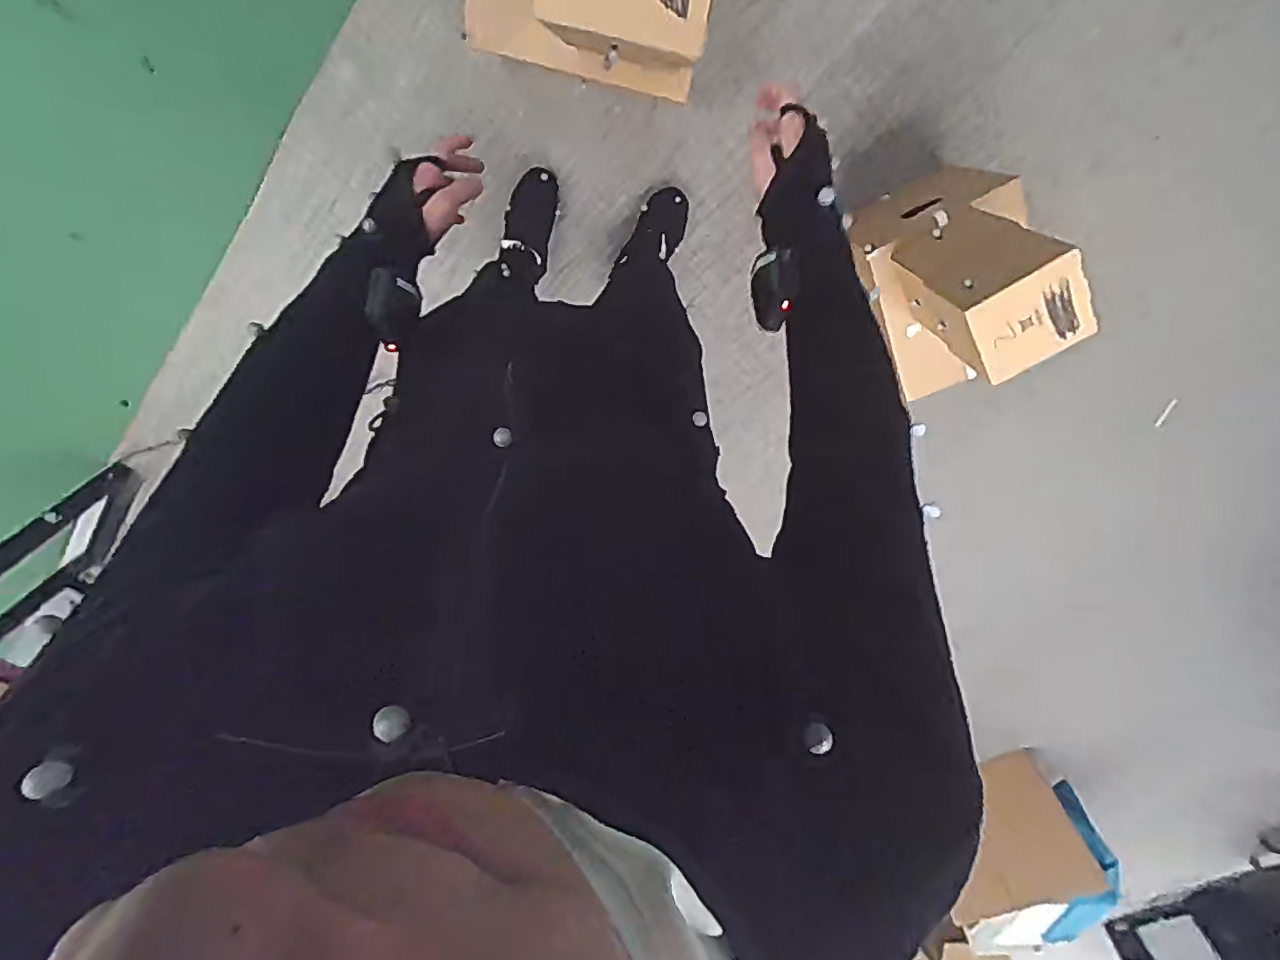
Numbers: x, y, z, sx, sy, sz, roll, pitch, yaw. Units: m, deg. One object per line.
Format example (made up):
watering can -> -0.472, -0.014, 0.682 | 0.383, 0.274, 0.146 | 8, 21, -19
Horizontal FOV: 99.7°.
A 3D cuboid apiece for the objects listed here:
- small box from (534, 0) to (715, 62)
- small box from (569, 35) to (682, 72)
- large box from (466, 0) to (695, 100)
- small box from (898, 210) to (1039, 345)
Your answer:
small box -> -0.004, -0.560, 0.567 | 0.179, 0.176, 0.168 | 10, 124, -6
small box -> -0.008, -0.657, 0.698 | 0.168, 0.176, 0.179 | 11, 125, -7
large box -> -0.079, -0.932, 1.004 | 0.408, 0.320, 0.320 | 10, 122, -7
small box -> 0.642, -0.406, 1.080 | 0.179, 0.176, 0.168 | -30, 121, 19
